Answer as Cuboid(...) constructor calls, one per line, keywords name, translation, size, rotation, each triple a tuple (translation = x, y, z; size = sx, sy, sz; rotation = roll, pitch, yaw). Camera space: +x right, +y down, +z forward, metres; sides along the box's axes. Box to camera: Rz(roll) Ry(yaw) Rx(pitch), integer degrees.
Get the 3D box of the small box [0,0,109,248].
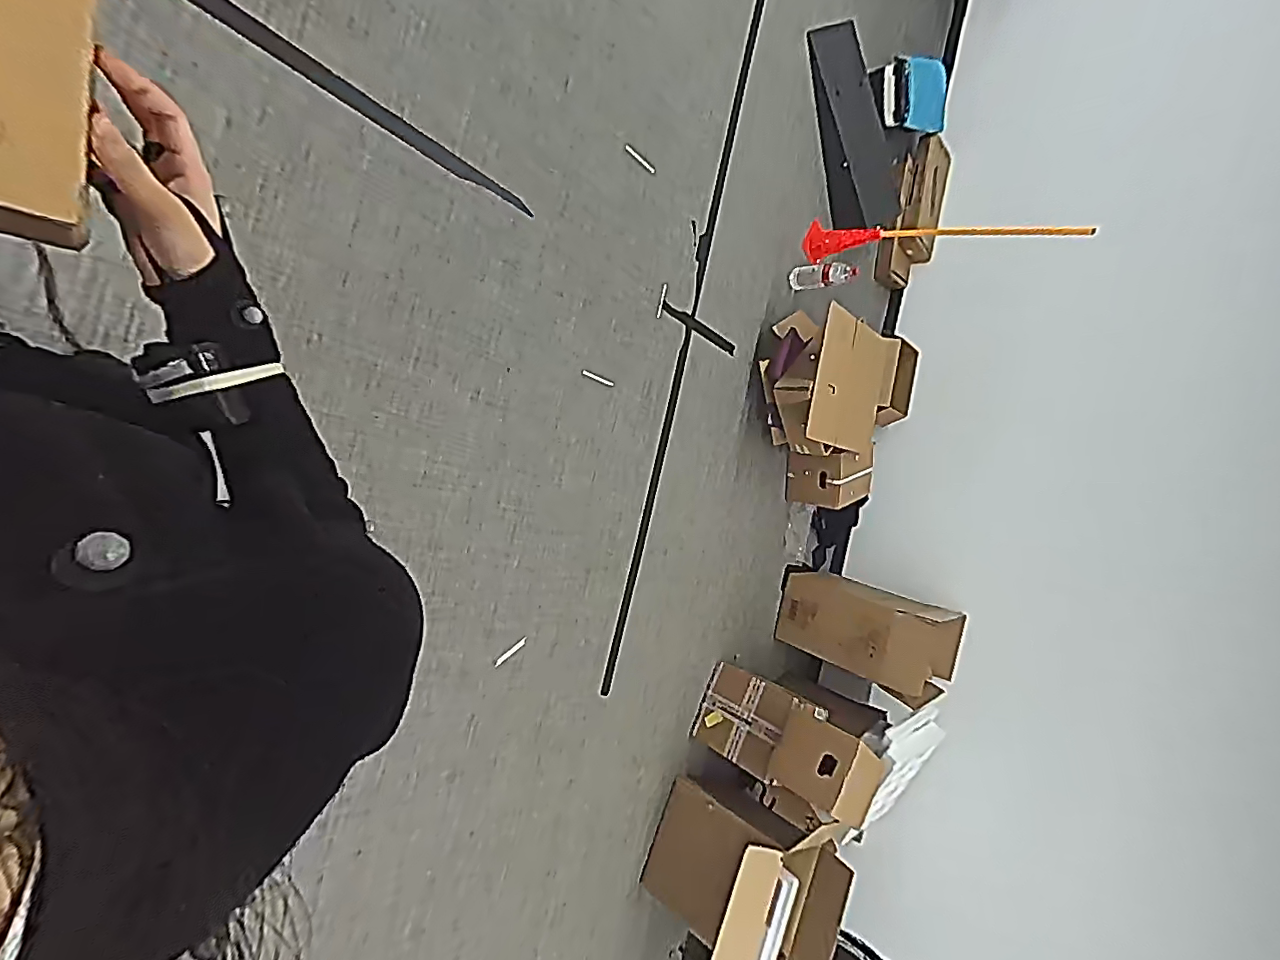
Cuboid(name="small box", translation=(-0.378, -0.230, 0.262), size=(0.168, 0.176, 0.179), rotation=(4, 98, -46))
